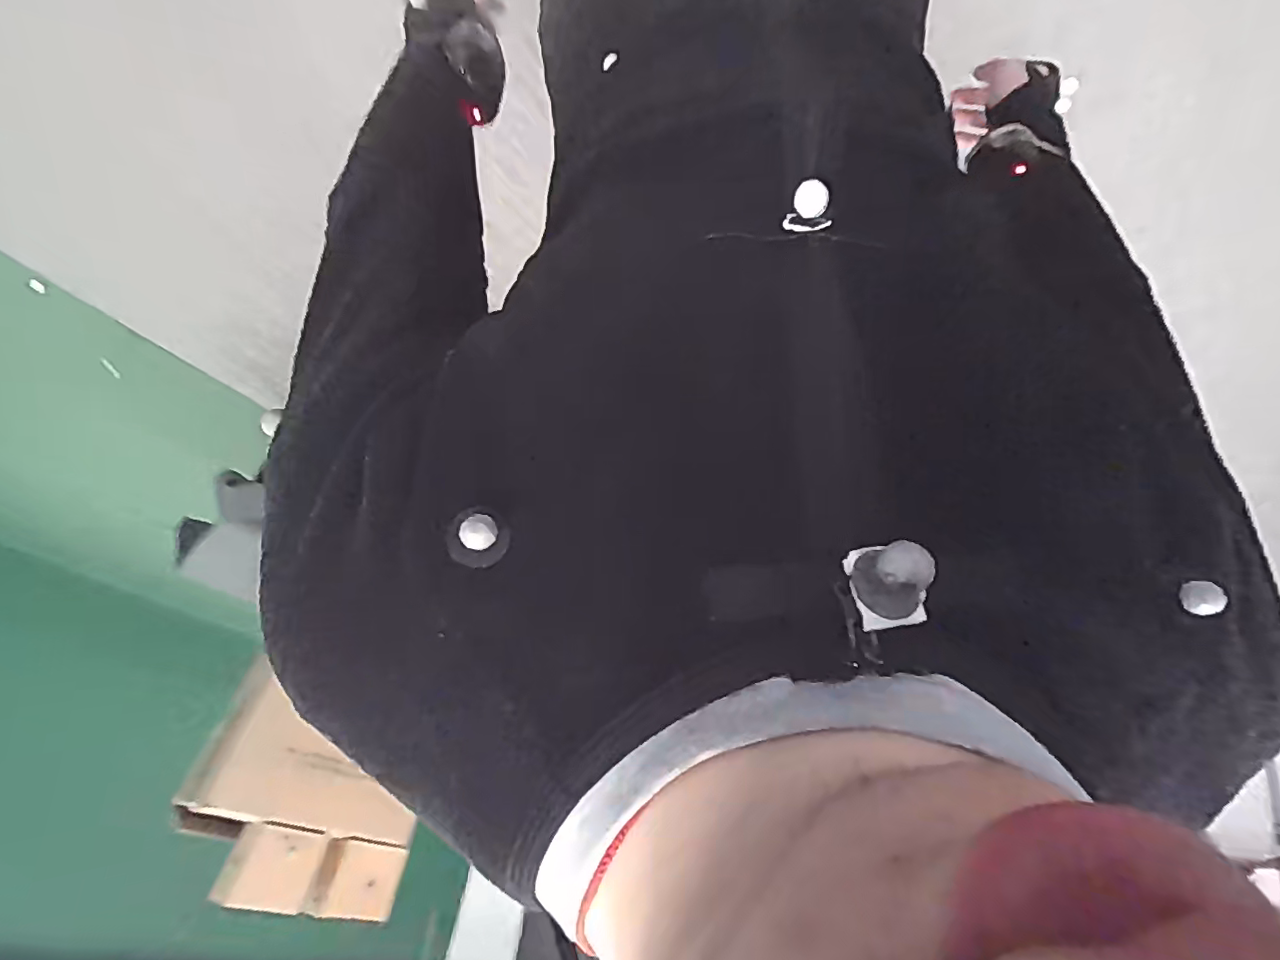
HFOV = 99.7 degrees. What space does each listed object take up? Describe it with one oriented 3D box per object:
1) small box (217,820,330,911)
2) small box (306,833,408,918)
[{"bbox_3d":[-0.949,1.001,1.412,0.179,0.176,0.168,-28,129,37],"label":"small box"},{"bbox_3d":[-0.787,1.108,1.519,0.168,0.176,0.179,-27,131,37],"label":"small box"}]
